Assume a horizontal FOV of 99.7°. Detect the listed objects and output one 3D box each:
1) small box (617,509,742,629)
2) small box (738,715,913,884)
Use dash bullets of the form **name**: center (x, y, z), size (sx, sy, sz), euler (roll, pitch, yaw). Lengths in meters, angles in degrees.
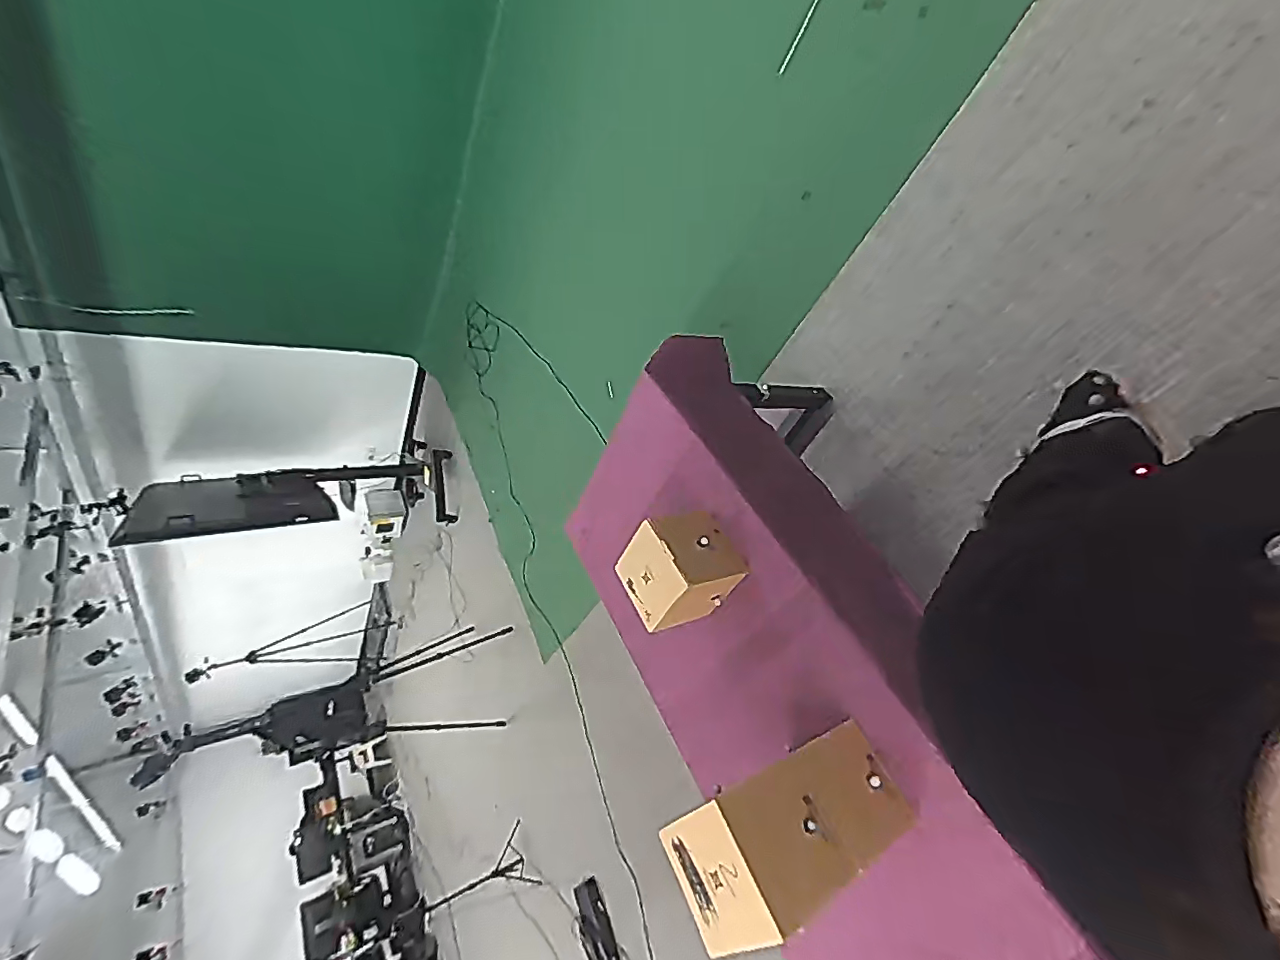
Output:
- **small box**: center (0.086, 0.178, 1.122), size (0.168, 0.176, 0.179), euler (58, 135, 30)
- **small box**: center (0.302, 0.518, 0.887), size (0.168, 0.176, 0.179), euler (59, 135, 29)
